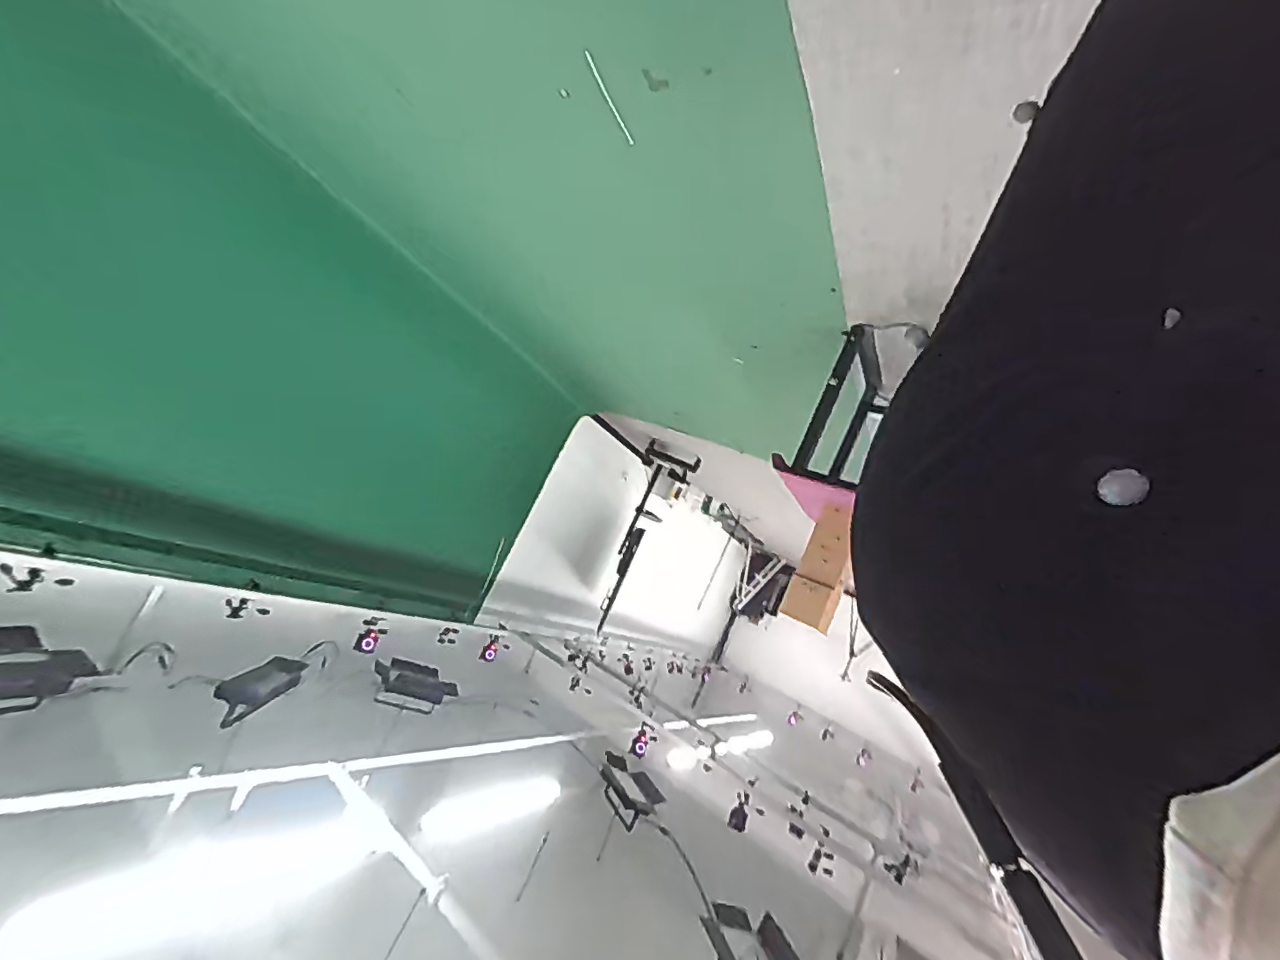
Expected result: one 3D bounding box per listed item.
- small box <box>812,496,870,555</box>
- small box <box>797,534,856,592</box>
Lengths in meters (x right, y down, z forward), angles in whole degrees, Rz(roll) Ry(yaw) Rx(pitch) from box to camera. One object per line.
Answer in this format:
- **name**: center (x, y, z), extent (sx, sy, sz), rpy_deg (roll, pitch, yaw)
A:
- **small box**: center (0.828, 0.185, 2.211), extent (0.168, 0.176, 0.179), rpy_deg (19, 171, 33)
- **small box**: center (0.760, 0.335, 2.192), extent (0.168, 0.176, 0.179), rpy_deg (21, 172, 32)
